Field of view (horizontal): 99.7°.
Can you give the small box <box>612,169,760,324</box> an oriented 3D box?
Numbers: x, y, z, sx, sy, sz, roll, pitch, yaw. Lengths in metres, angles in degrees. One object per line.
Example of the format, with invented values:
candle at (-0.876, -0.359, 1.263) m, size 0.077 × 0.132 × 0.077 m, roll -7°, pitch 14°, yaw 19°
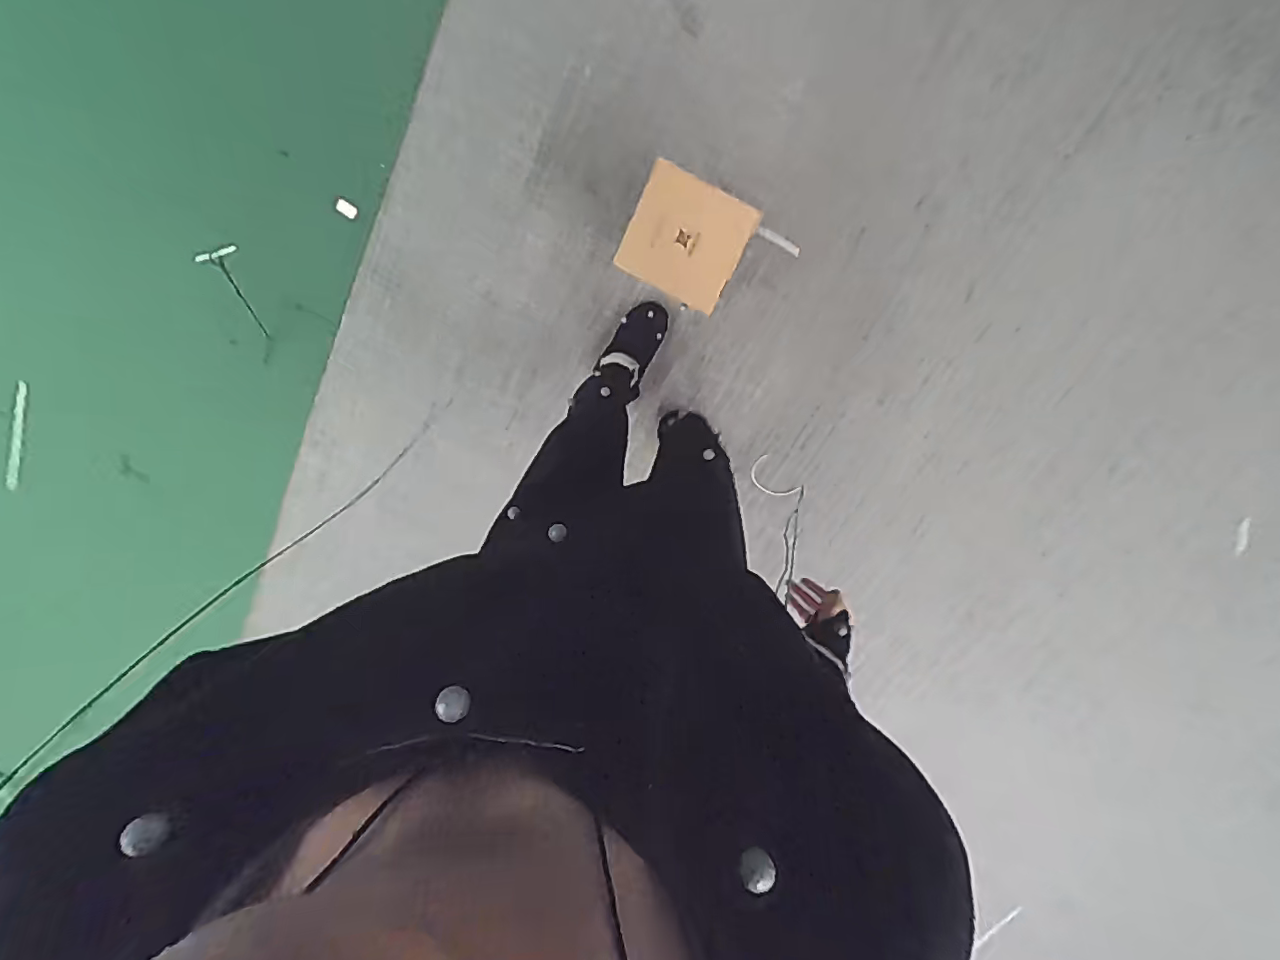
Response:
small box at (0.076, -0.379, 0.902) m, size 0.179 × 0.176 × 0.168 m, roll 28°, pitch 108°, yaw -3°
